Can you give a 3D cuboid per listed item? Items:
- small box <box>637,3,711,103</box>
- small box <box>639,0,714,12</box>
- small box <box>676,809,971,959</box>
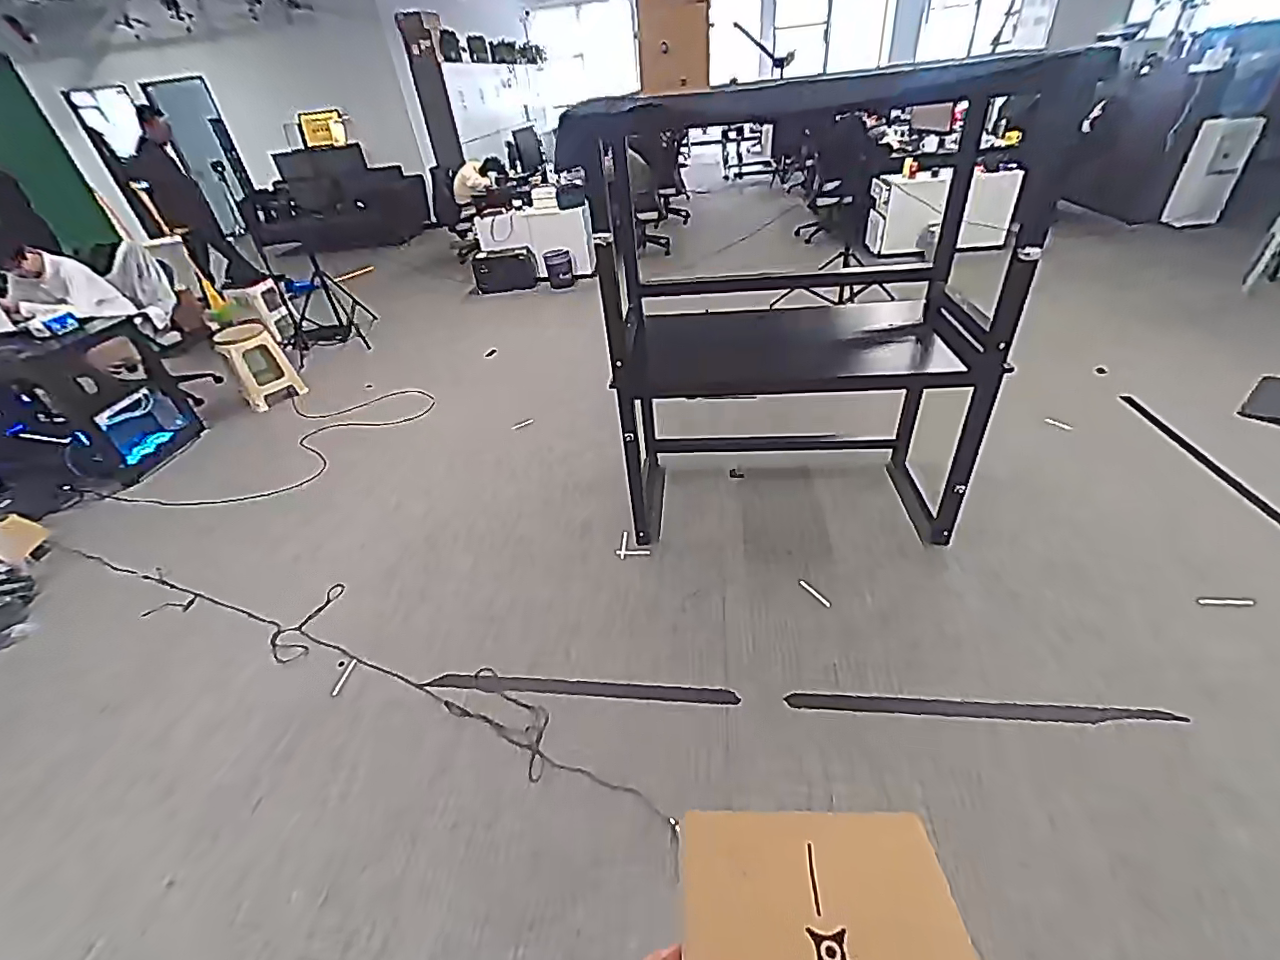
[{"bbox_3d":[0.089,-1.027,1.312,0.168,0.176,0.179,0,35,7],"label":"small box"},{"bbox_3d":[0.081,-1.160,1.219,0.168,0.176,0.179,0,36,9],"label":"small box"},{"bbox_3d":[0.107,0.343,0.341,0.168,0.176,0.179,-1,30,3],"label":"small box"}]
